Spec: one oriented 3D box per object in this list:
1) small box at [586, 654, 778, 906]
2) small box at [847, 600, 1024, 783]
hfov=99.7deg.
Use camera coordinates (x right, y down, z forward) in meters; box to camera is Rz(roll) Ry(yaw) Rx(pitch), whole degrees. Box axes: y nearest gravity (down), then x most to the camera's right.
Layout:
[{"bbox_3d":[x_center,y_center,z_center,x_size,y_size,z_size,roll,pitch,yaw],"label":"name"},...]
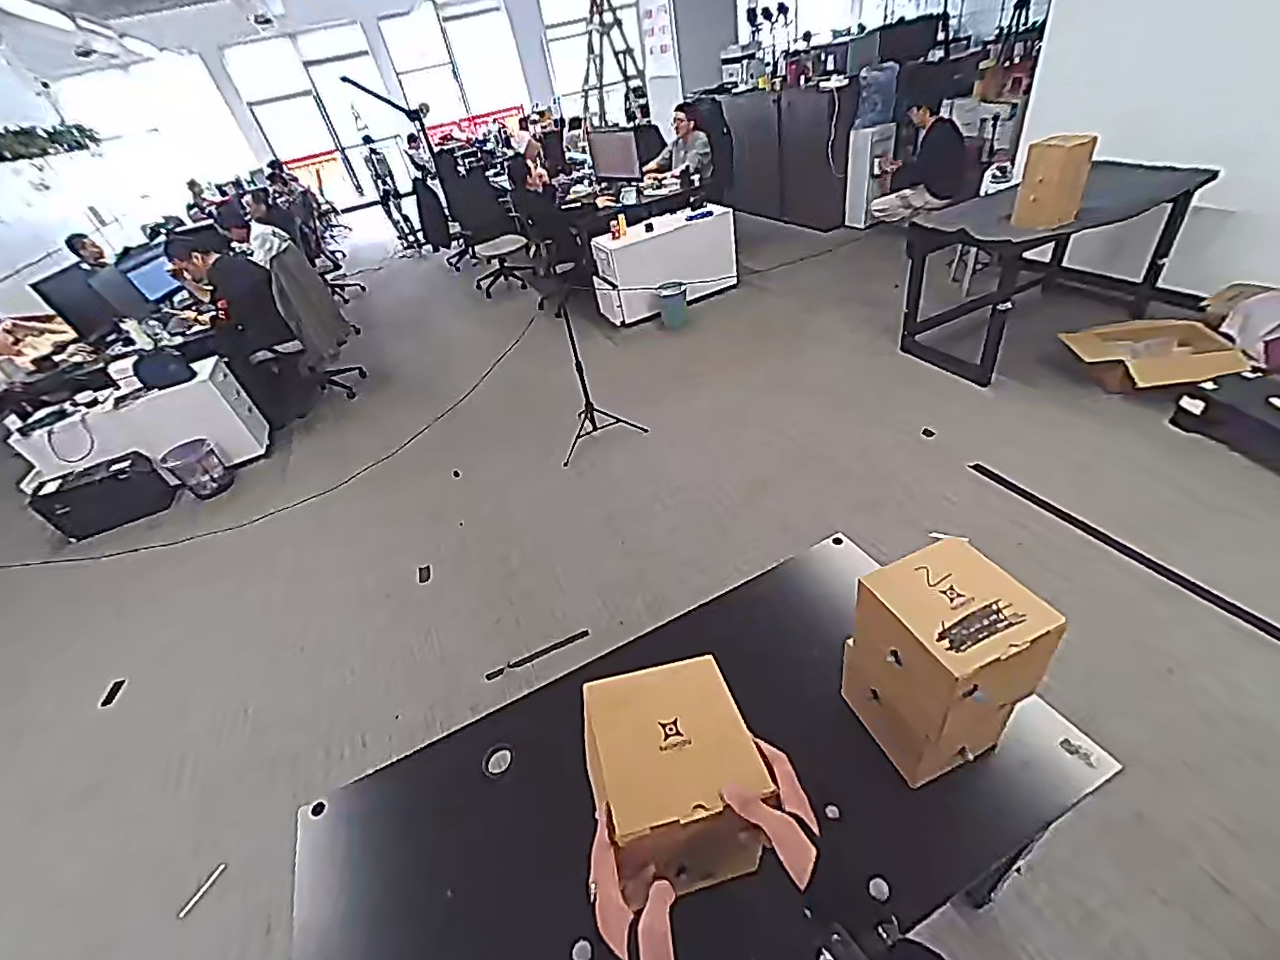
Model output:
[{"bbox_3d":[0.033,0.337,0.622,0.168,0.176,0.179,-8,34,-14],"label":"small box"},{"bbox_3d":[0.445,0.330,0.849,0.168,0.176,0.179,-22,39,-9],"label":"small box"}]
